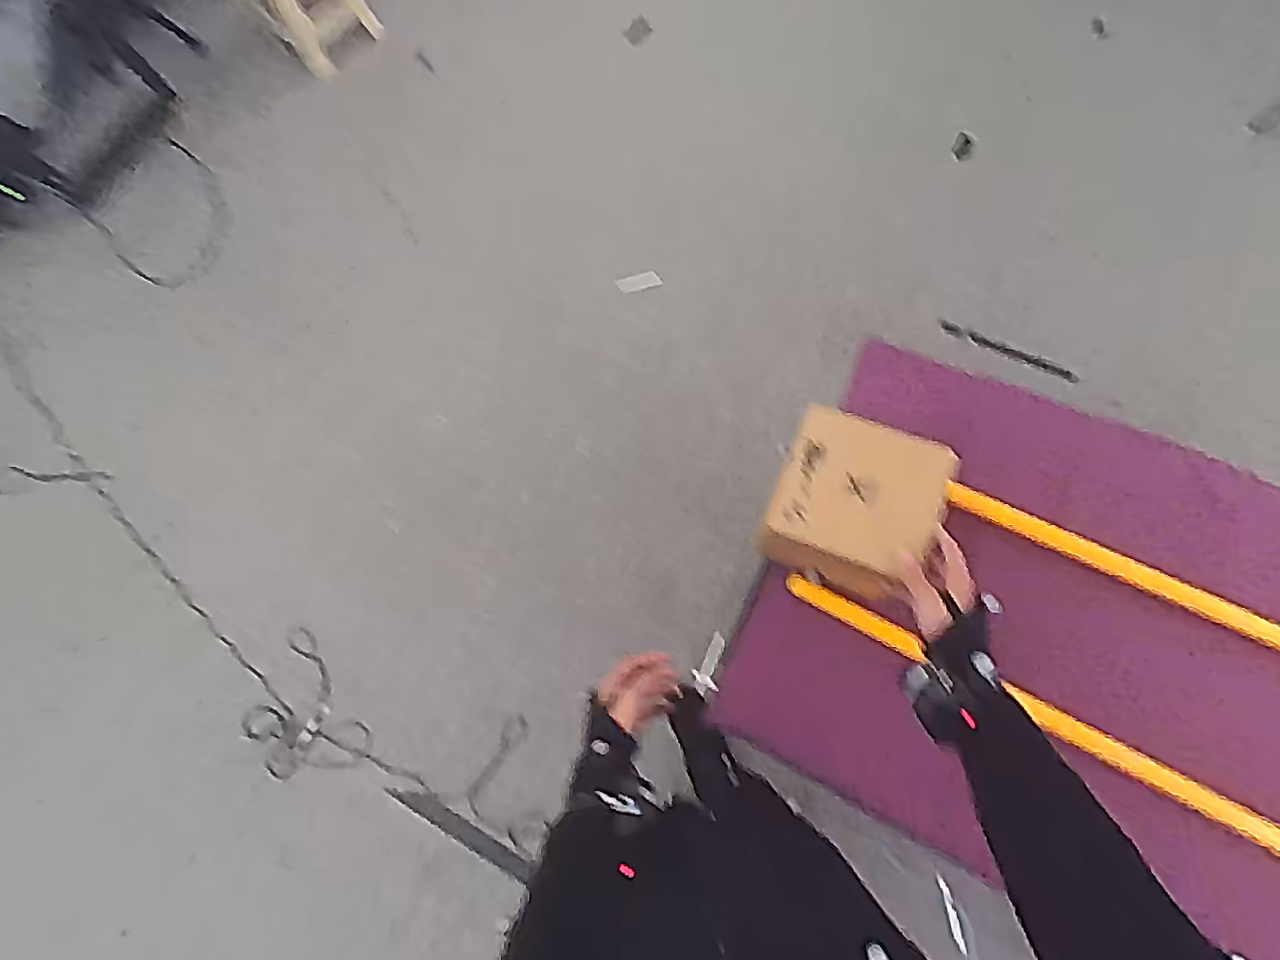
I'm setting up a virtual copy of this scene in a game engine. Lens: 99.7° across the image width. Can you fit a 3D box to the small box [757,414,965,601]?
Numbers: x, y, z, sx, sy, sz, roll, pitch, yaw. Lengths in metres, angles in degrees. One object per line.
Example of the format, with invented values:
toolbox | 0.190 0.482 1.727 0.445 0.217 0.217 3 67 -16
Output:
small box | 0.266 0.045 0.689 0.179 0.176 0.168 22 76 12
